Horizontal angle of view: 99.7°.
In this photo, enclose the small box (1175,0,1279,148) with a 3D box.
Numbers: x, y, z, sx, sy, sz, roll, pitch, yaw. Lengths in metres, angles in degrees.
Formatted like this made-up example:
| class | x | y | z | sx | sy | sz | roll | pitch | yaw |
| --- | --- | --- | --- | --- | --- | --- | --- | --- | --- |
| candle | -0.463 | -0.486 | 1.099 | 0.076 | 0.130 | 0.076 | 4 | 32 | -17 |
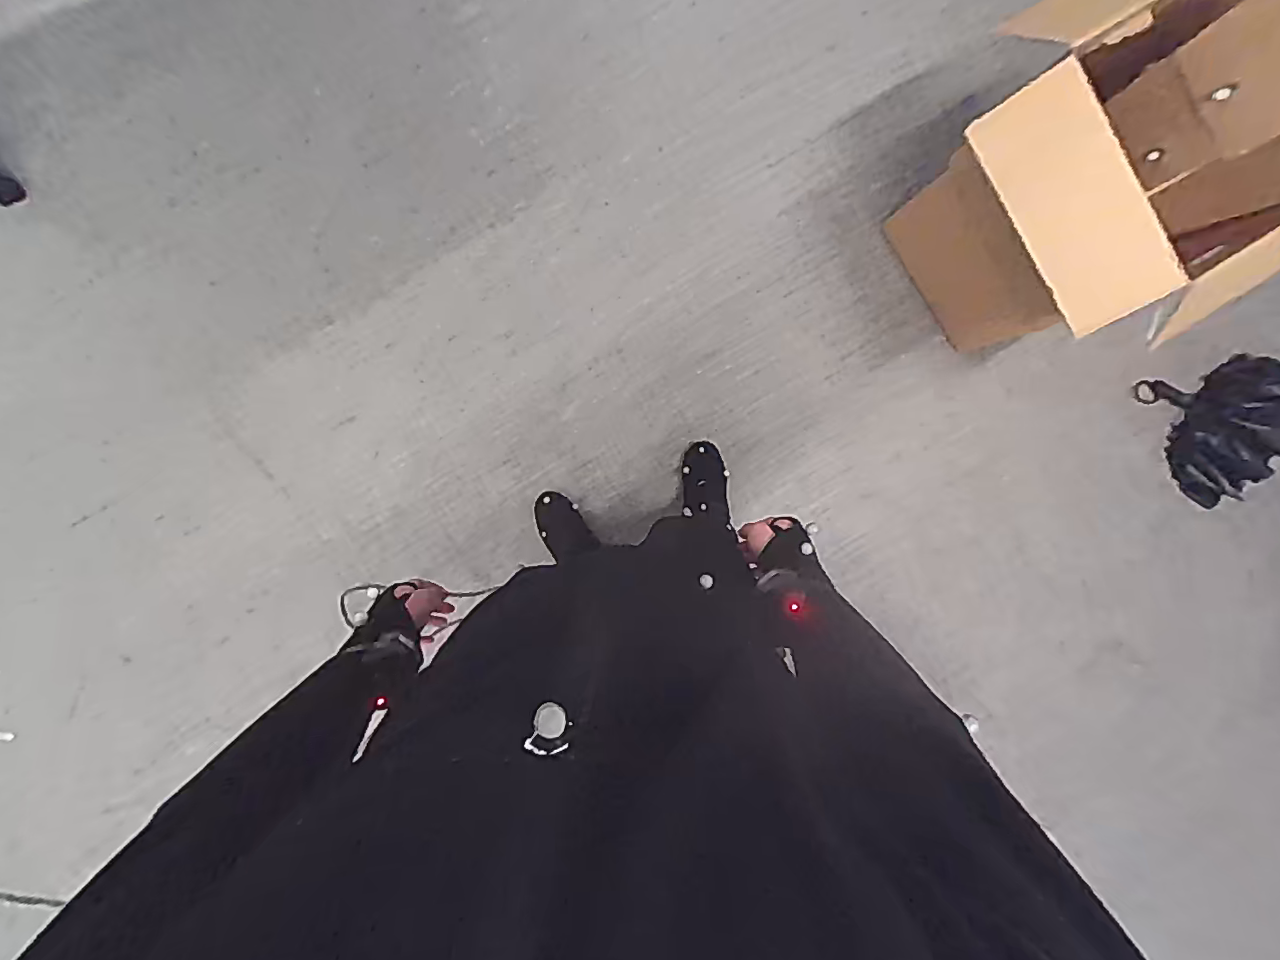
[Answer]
| class | x | y | z | sx | sy | sz | roll | pitch | yaw |
| --- | --- | --- | --- | --- | --- | --- | --- | --- | --- |
| small box | 0.876 | -0.574 | 0.703 | 0.168 | 0.176 | 0.179 | -30 | 93 | -1 |
